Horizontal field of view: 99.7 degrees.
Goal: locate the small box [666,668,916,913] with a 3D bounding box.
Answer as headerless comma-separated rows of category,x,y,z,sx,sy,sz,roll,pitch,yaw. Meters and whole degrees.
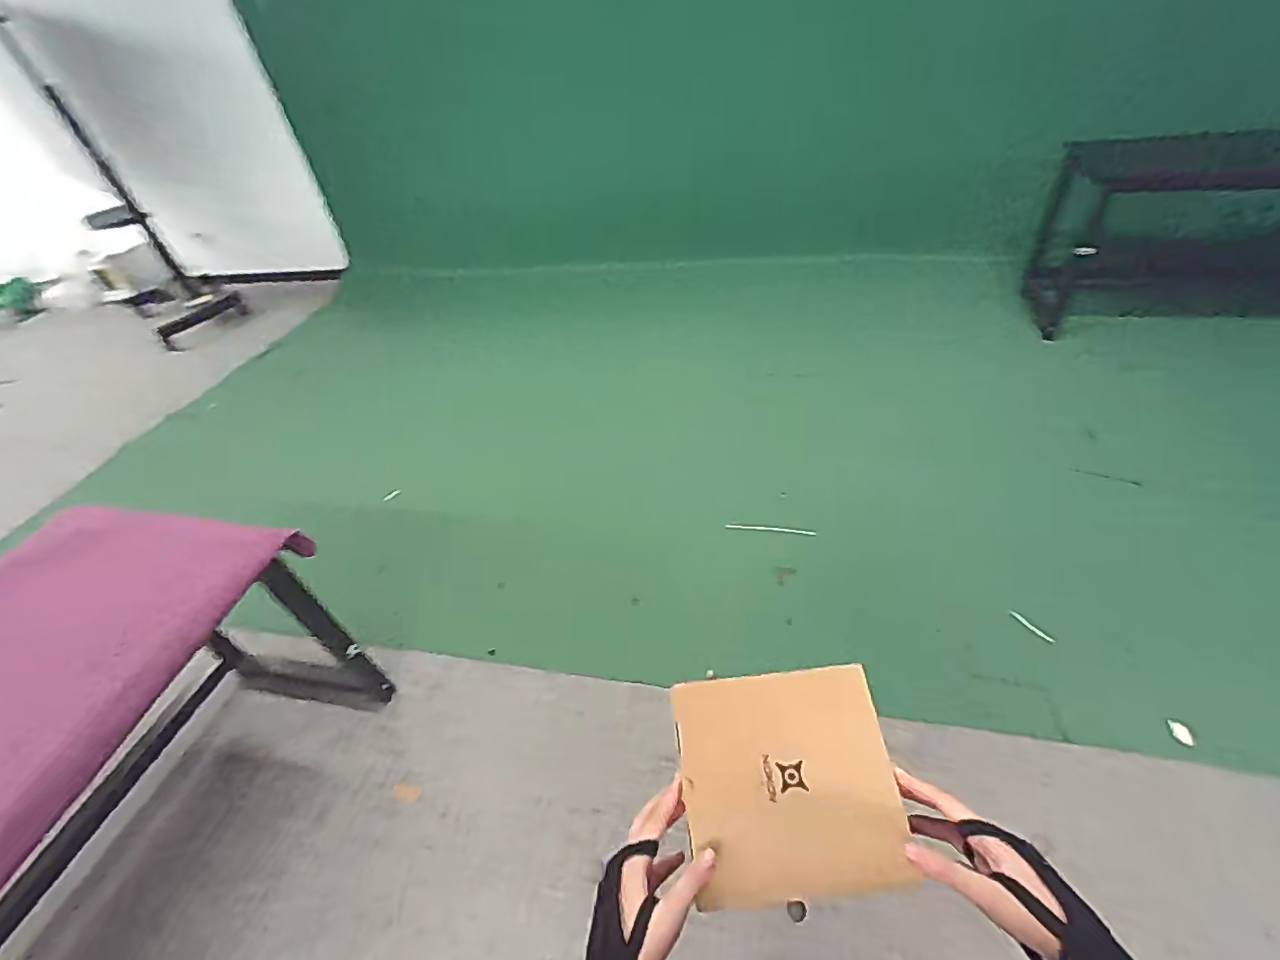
small box,0.125,0.290,0.519,0.179,0.176,0.168,-9,58,2
